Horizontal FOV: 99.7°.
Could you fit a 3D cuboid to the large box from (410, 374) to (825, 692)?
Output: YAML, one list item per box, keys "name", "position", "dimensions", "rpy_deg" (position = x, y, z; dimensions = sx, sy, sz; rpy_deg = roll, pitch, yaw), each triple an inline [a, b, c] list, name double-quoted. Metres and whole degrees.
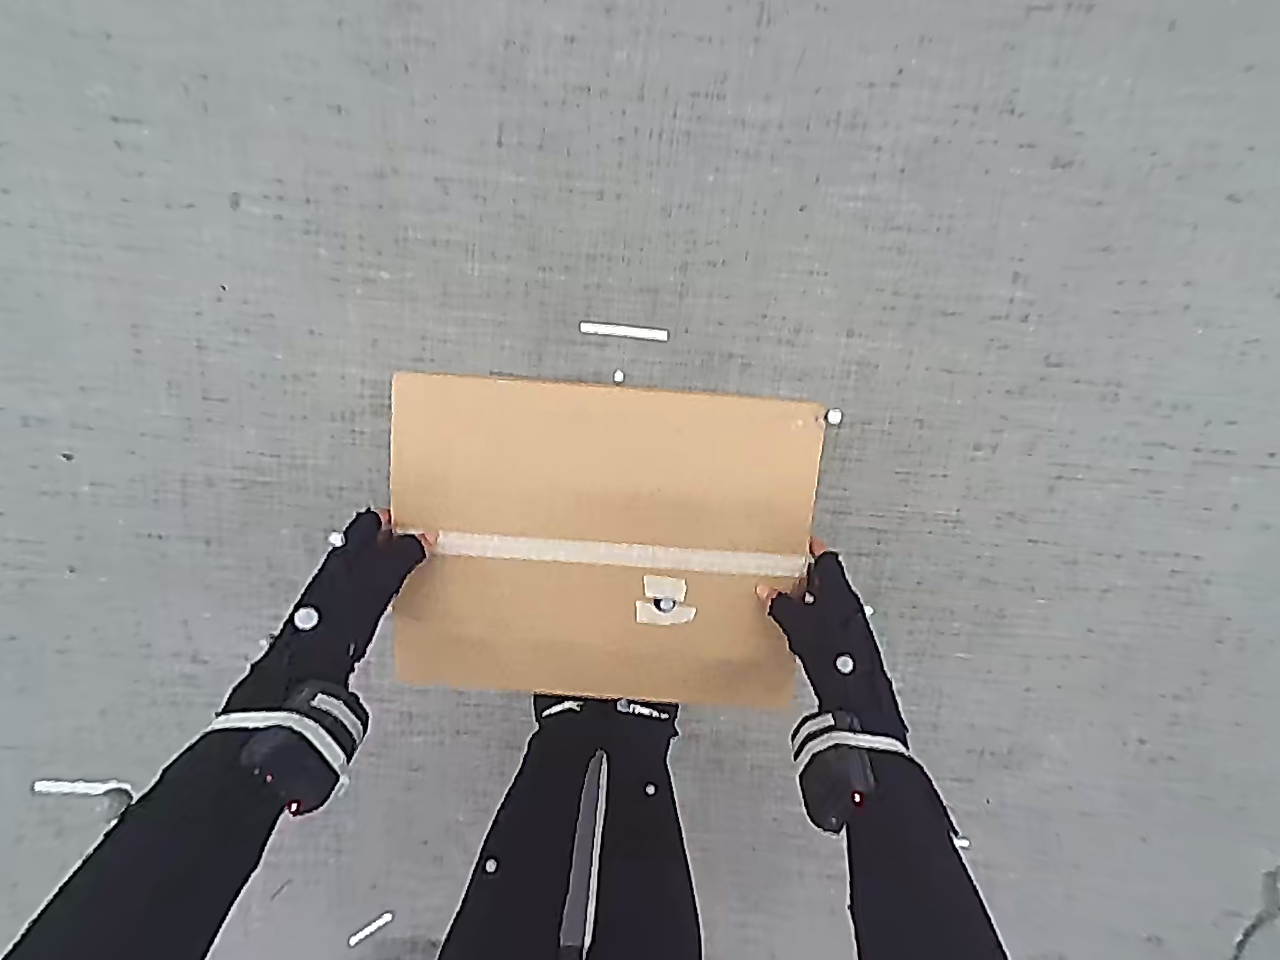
- name: "large box"
  position: [-0.031, 0.037, 0.684]
  dimensions: [0.408, 0.320, 0.320]
  rpy_deg: [4, 101, -1]
